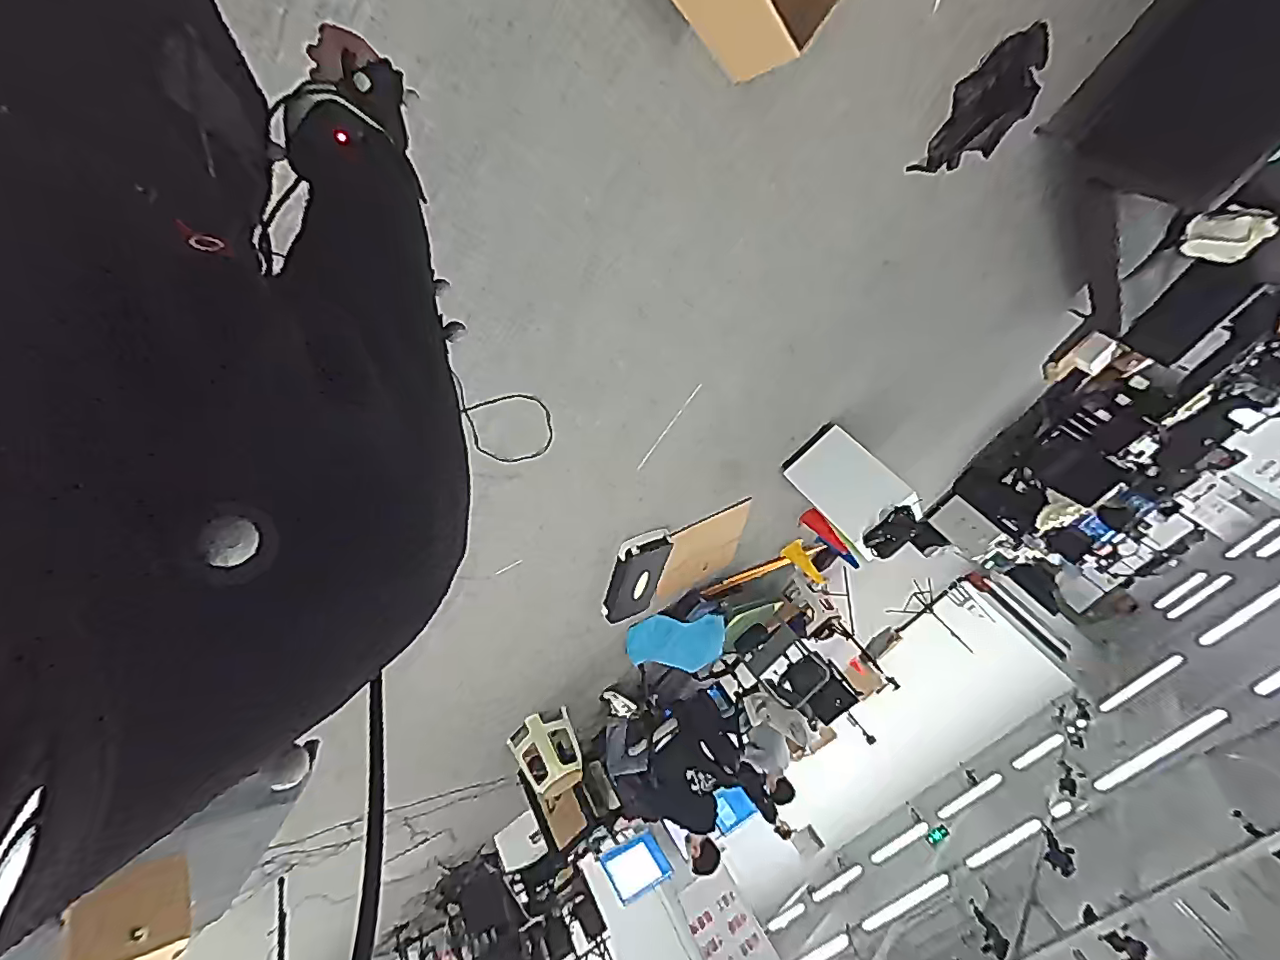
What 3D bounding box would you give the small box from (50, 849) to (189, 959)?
[{"bbox_3d":[-1.023,0.873,1.064,0.179,0.176,0.168,10,124,-48],"label":"small box"}]
